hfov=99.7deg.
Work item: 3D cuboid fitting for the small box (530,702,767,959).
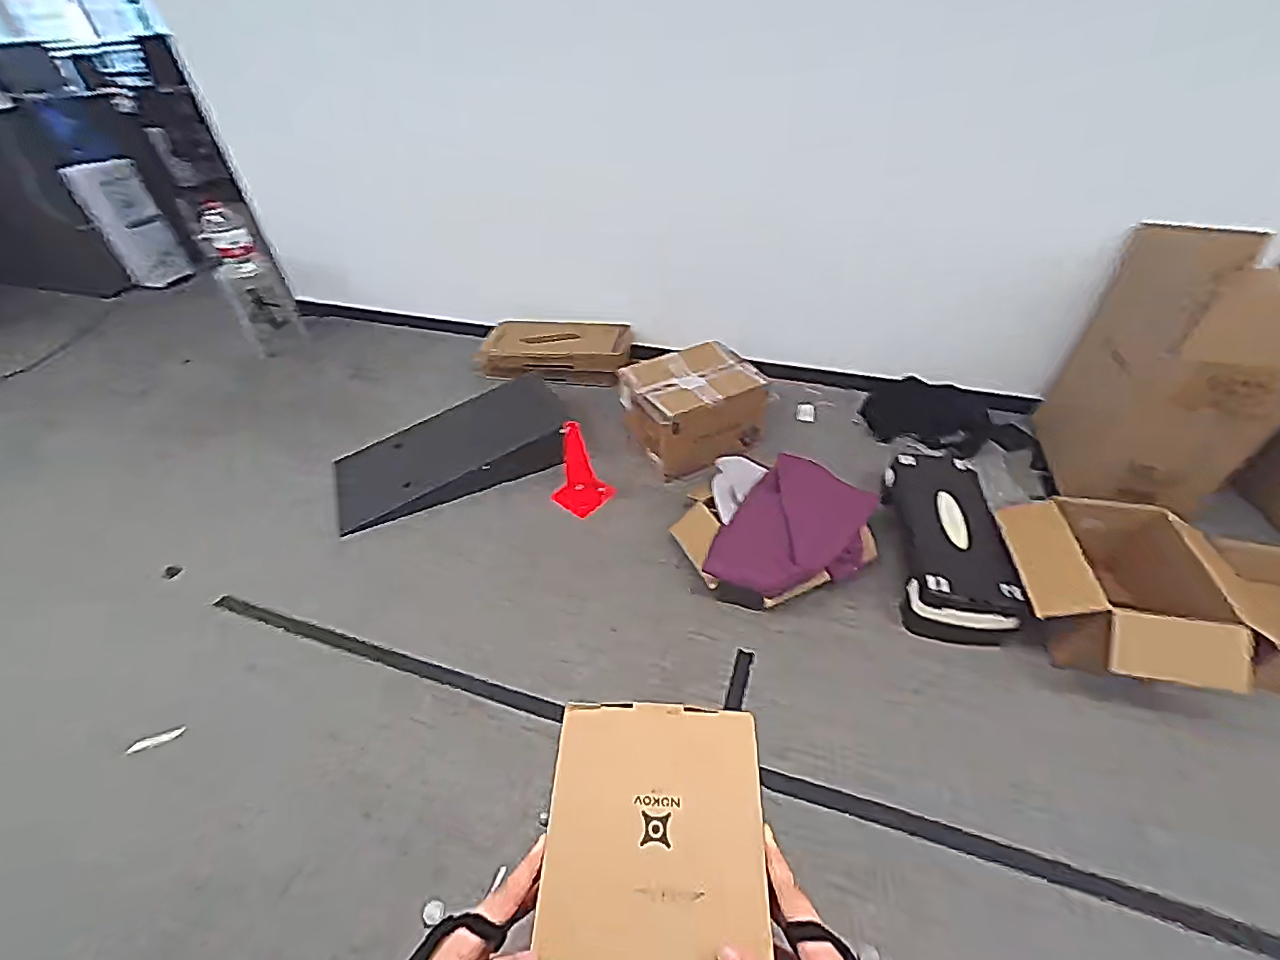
[{"bbox_3d":[0.008,0.319,0.480,0.168,0.176,0.179,2,48,2],"label":"small box"}]

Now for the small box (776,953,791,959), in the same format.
[{"bbox_3d":[0.294,1.027,0.993,0.179,0.176,0.168,22,48,25],"label":"small box"}]
